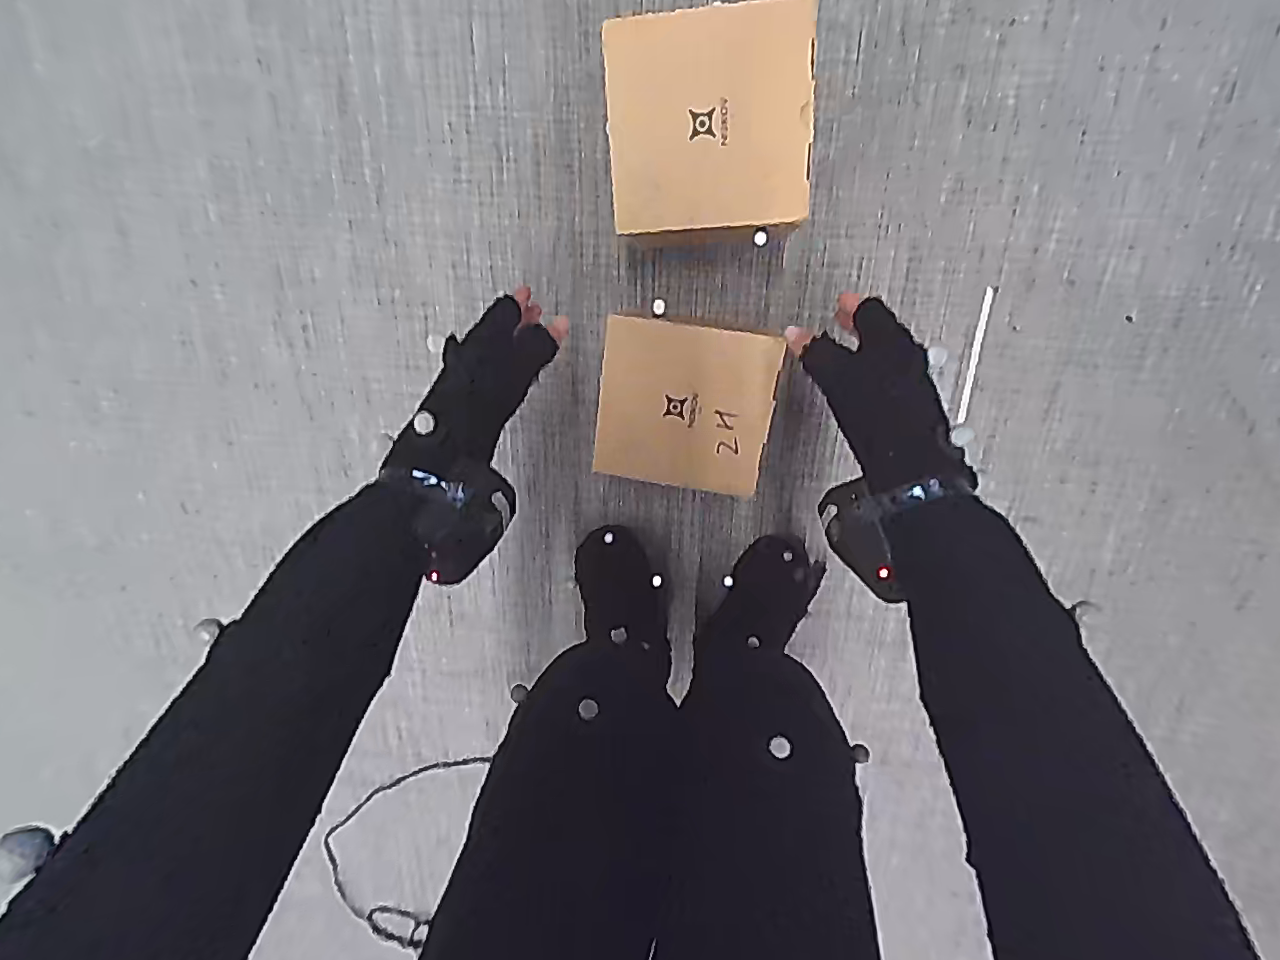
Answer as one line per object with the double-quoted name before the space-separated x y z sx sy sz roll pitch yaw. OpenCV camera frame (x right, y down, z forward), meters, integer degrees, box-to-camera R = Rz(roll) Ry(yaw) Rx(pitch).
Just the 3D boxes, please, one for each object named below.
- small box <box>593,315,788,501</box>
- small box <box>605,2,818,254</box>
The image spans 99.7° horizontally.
"small box" 0.056 -0.092 0.617 0.179 0.176 0.168 9 110 5
"small box" 0.070 -0.325 0.539 0.179 0.176 0.168 -1 108 8
